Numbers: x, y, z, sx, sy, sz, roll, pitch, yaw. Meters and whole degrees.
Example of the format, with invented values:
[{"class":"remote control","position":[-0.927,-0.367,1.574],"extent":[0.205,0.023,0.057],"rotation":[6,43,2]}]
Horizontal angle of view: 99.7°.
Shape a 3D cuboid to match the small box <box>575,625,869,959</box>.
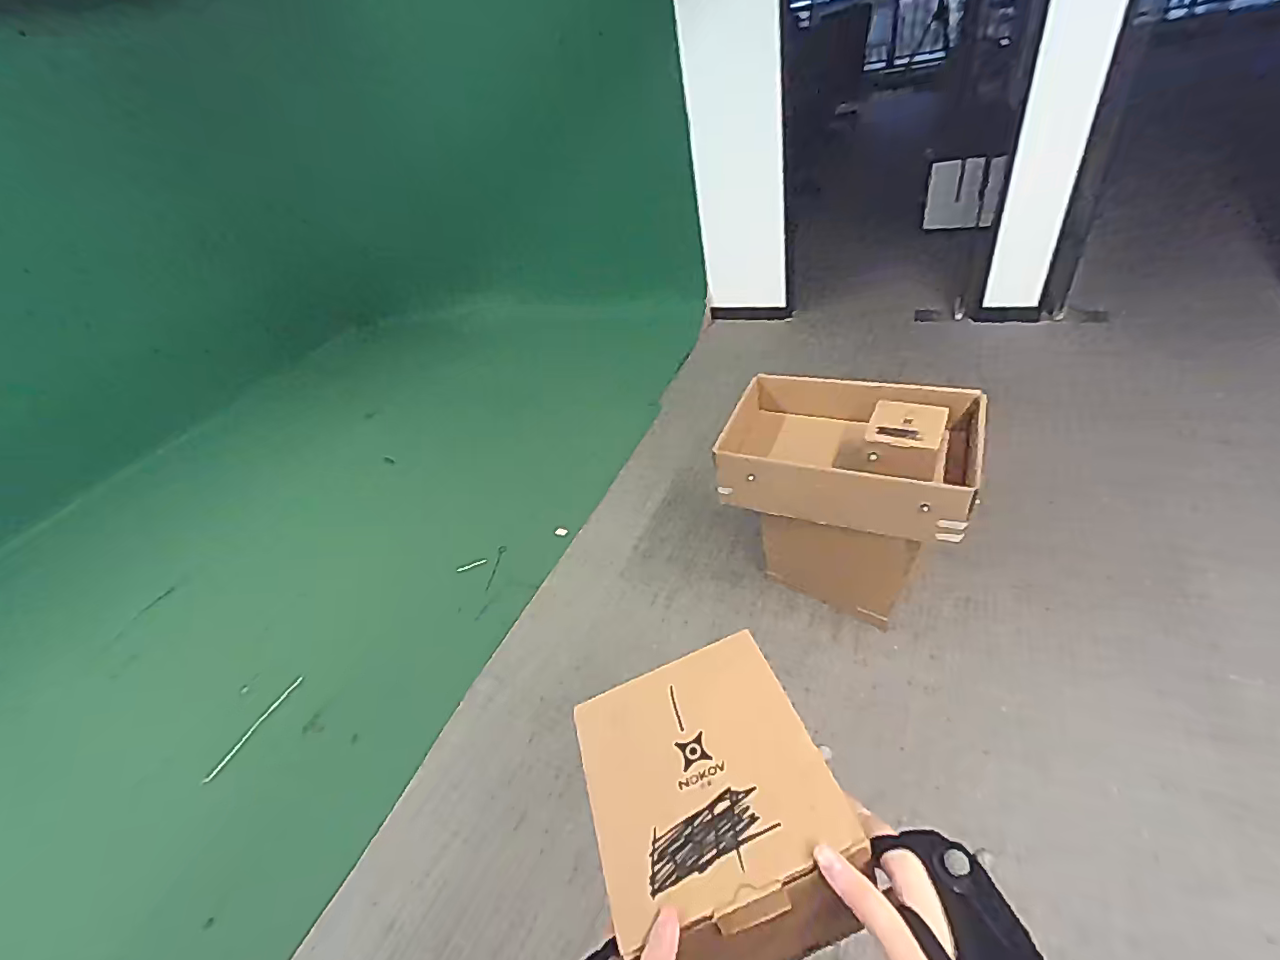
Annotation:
[{"class":"small box","position":[0.065,0.262,0.443],"extent":[0.168,0.176,0.179],"rotation":[-24,35,-1]}]
